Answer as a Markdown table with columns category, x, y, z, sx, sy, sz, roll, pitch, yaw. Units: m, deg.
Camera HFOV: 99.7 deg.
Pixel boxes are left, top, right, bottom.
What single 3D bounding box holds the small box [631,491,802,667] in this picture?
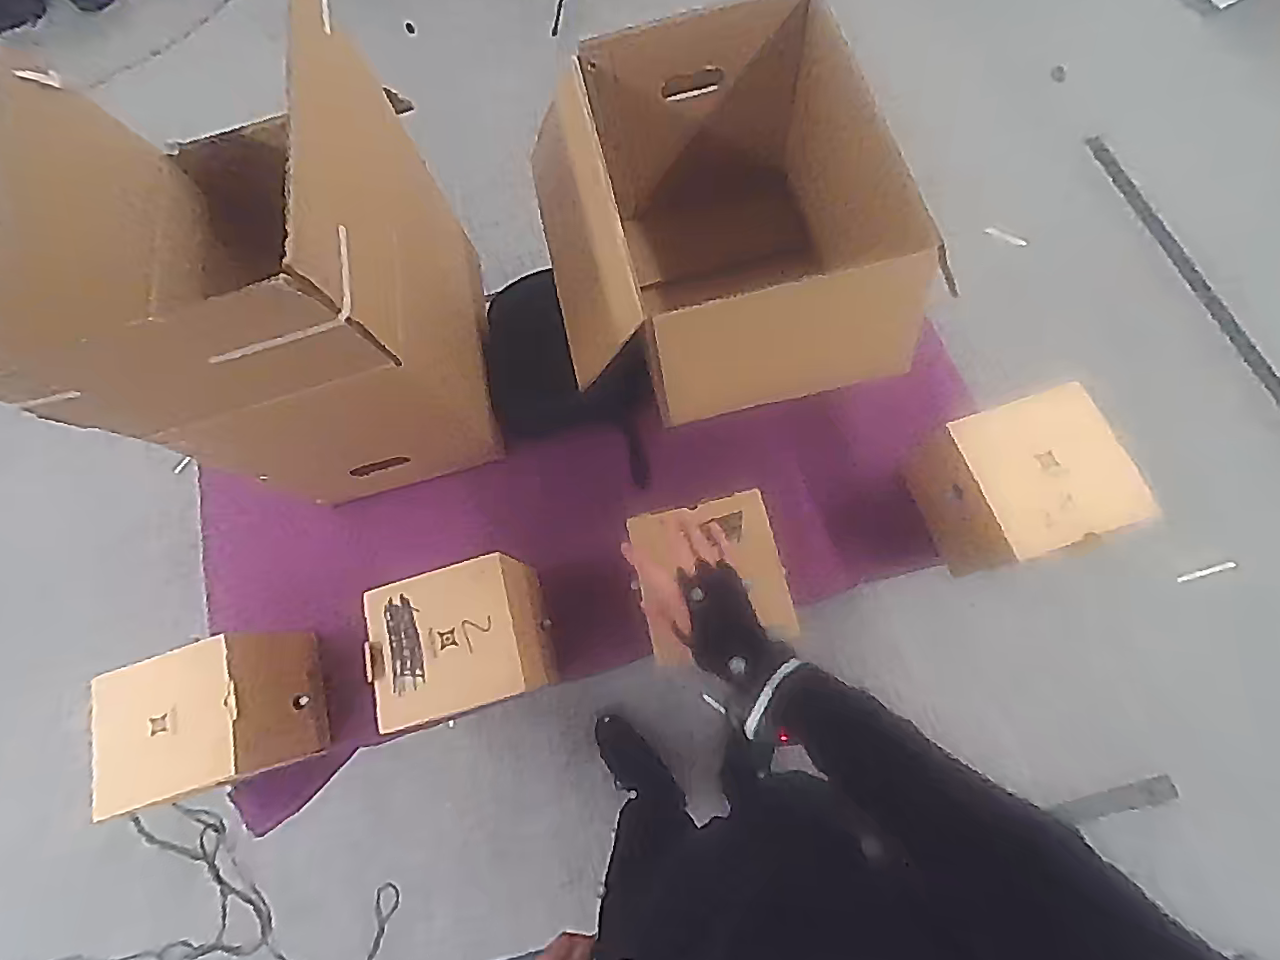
| category | x | y | z | sx | sy | sz | roll | pitch | yaw |
| --- | --- | --- | --- | --- | --- | --- | --- | --- | --- |
| small box | 0.091 | 0.133 | 0.696 | 0.168 | 0.176 | 0.179 | -14 | 74 | 3 |

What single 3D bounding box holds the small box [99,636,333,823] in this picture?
| category | x | y | z | sx | sy | sz | roll | pitch | yaw |
| --- | --- | --- | --- | --- | --- | --- | --- | --- | --- |
| small box | -0.547 | 0.316 | 0.714 | 0.179 | 0.176 | 0.168 | -19 | 72 | -1 |

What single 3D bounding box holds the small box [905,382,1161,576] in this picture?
| category | x | y | z | sx | sy | sz | roll | pitch | yaw |
| --- | --- | --- | --- | --- | --- | --- | --- | --- | --- |
| small box | 0.471 | 0.008 | 0.687 | 0.168 | 0.176 | 0.179 | -19 | 72 | 2 |
